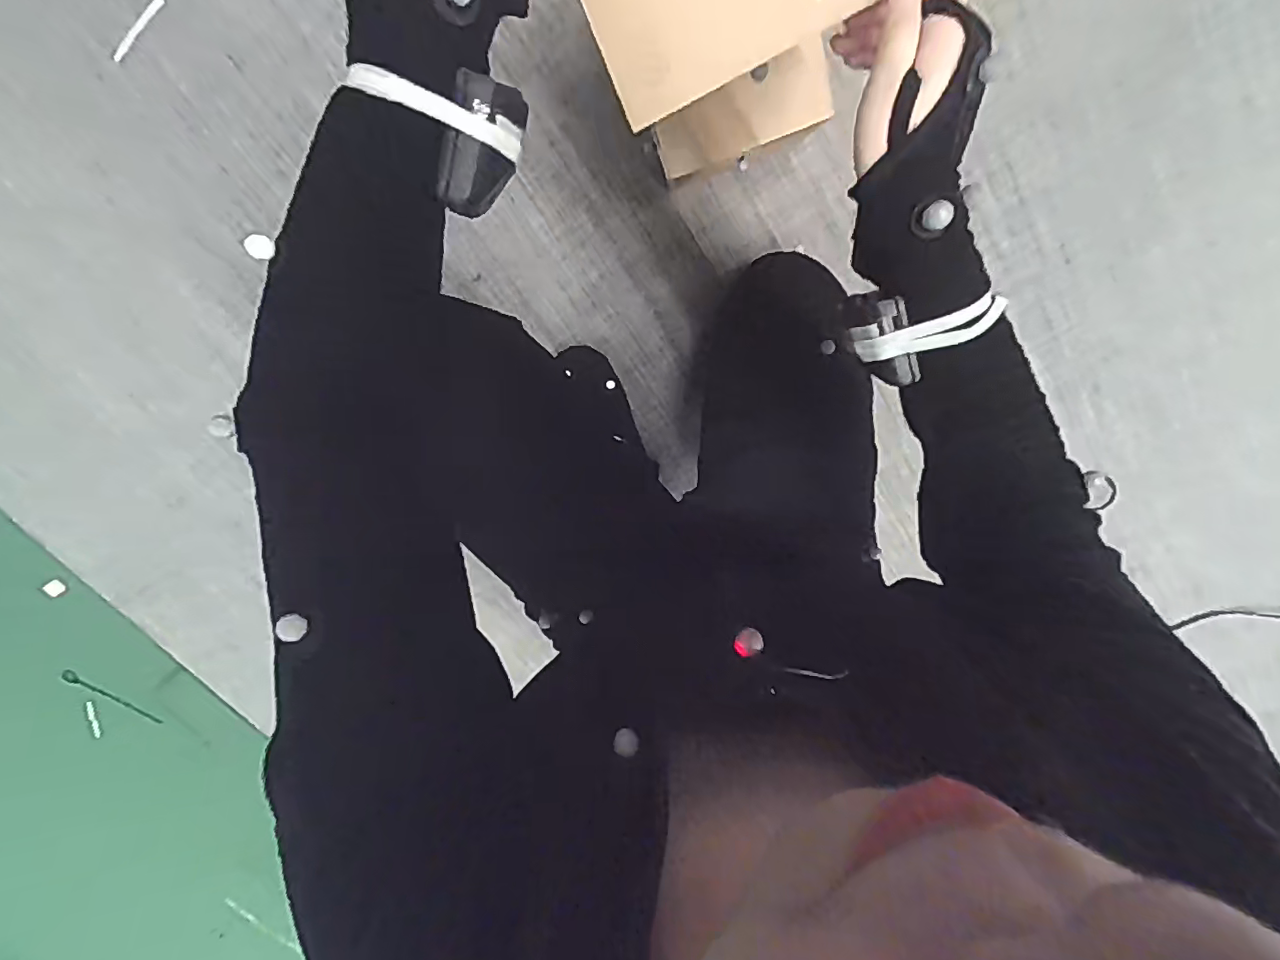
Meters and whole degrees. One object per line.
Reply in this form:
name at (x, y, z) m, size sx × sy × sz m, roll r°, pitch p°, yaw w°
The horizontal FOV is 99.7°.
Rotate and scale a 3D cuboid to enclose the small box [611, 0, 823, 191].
small box at (0.083, -0.438, 0.597) m, size 0.179 × 0.176 × 0.168 m, roll -15°, pitch 112°, yaw 10°
